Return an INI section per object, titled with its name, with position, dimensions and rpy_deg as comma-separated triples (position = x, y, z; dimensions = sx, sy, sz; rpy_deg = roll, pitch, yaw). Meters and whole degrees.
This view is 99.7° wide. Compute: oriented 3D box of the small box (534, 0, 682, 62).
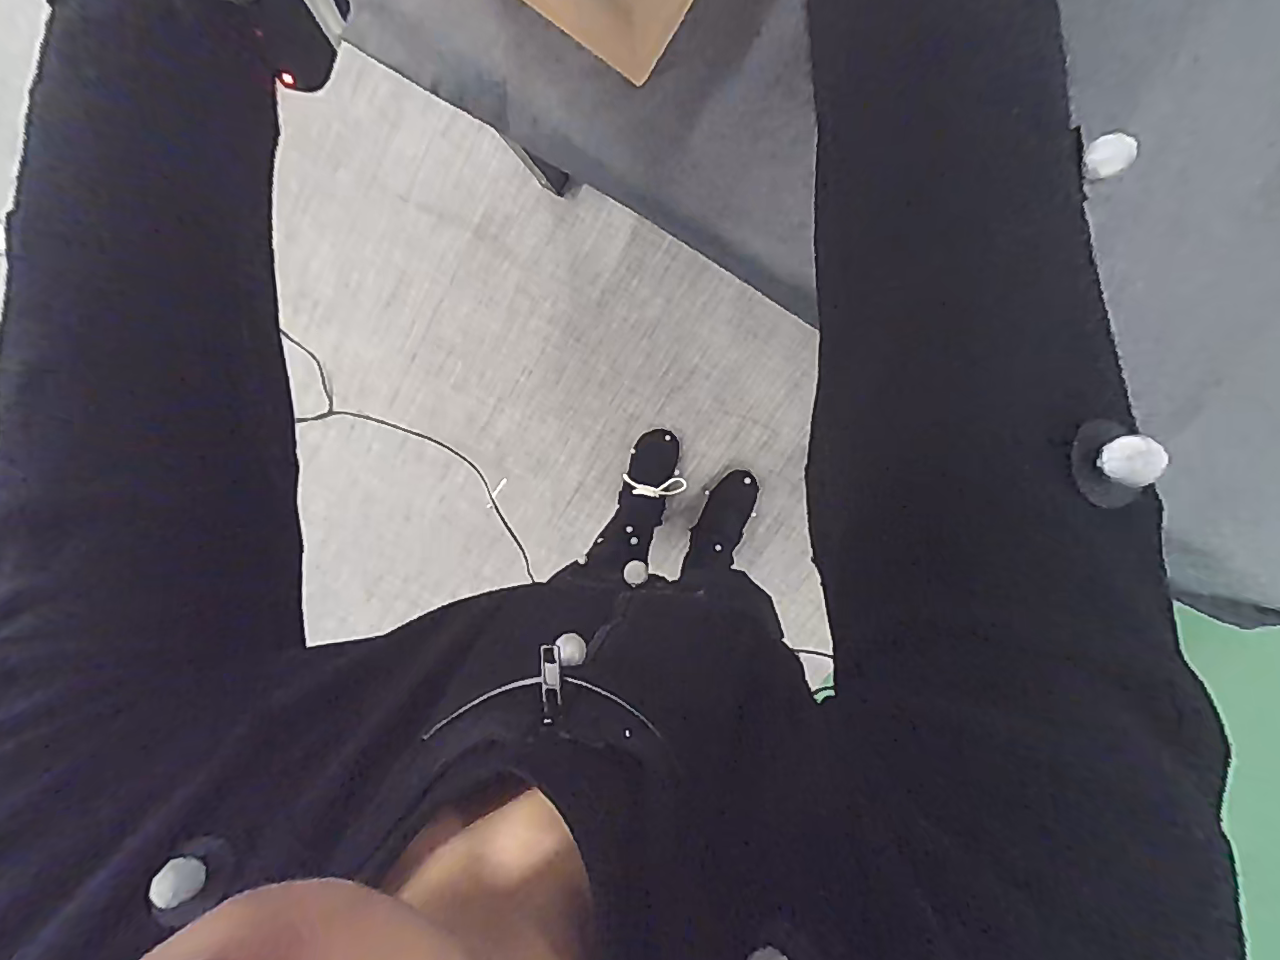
[small box]
position = -0.027, -0.461, 0.396
dimensions = 0.179, 0.176, 0.168
rpy_deg = 34, 101, -5
